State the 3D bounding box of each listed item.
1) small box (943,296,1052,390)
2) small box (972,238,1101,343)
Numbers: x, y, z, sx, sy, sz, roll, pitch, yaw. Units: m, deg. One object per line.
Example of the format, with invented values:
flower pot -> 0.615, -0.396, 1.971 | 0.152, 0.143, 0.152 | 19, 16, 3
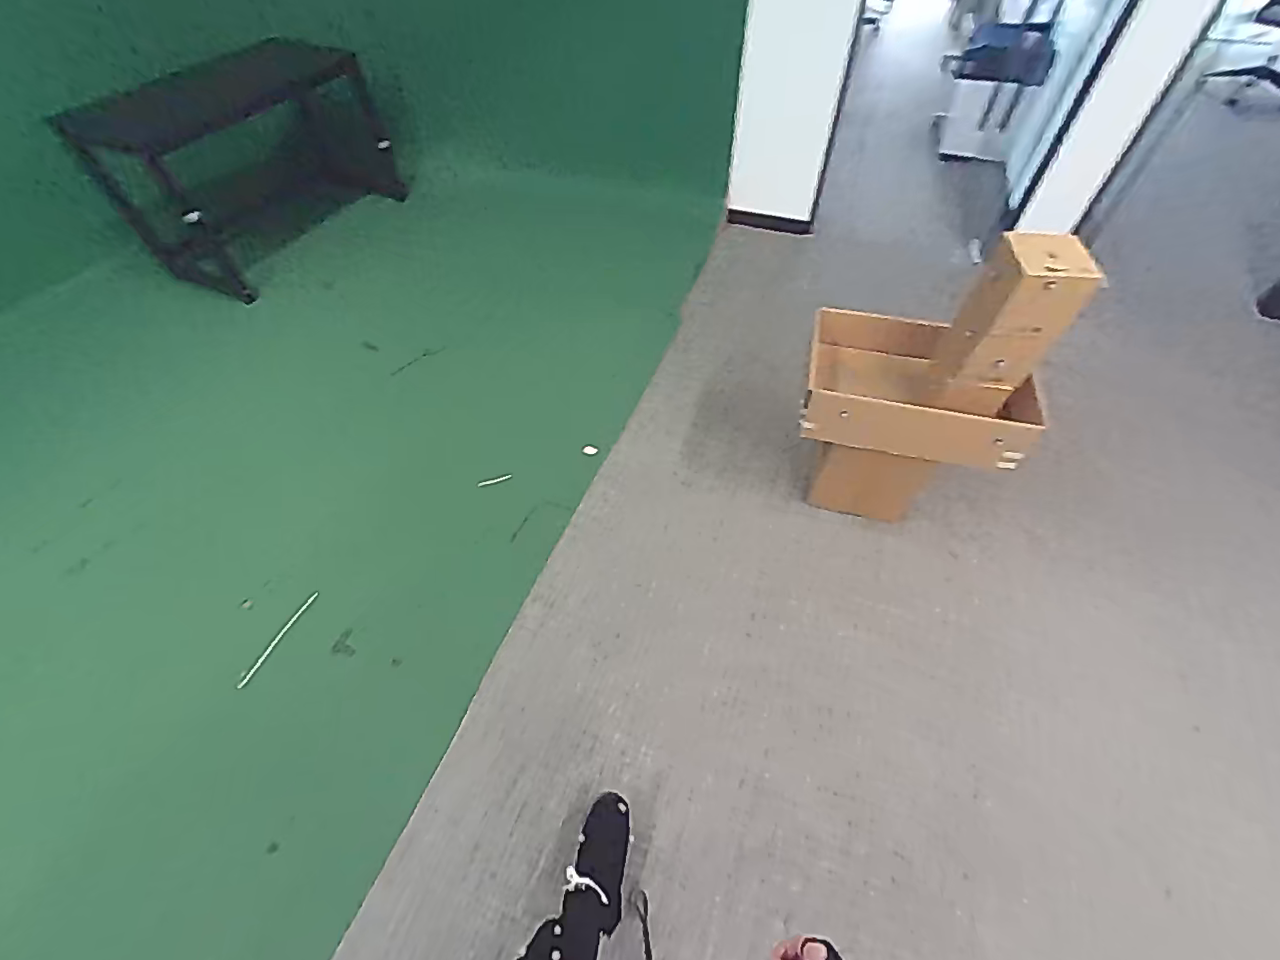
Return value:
small box -> 0.934, -0.359, 1.431 | 0.168, 0.176, 0.179 | 7, 54, 5
small box -> 0.934, -0.454, 1.298 | 0.168, 0.176, 0.179 | 4, 53, 4
